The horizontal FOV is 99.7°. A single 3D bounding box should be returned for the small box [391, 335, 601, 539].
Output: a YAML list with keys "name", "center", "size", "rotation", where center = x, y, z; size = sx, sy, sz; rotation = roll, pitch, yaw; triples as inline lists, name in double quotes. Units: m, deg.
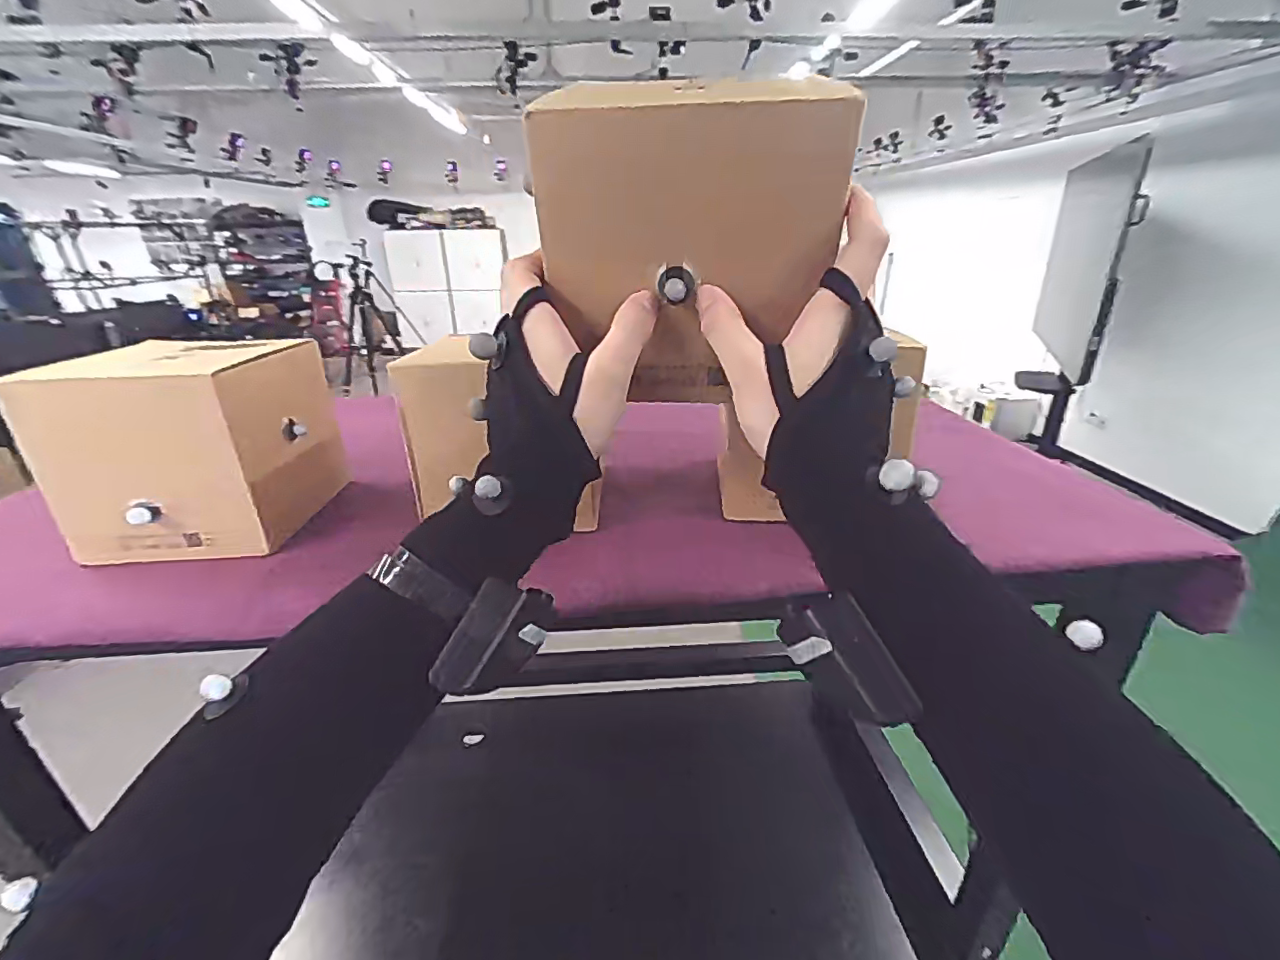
- name: "small box"
  center: [-0.129, -0.052, 0.560]
  size: [0.168, 0.176, 0.179]
  rotation: [-2, 24, 0]

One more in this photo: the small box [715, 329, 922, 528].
- name: "small box"
  center: [0.166, -0.063, 0.568]
  size: [0.168, 0.176, 0.179]
  rotation: [0, 22, 5]

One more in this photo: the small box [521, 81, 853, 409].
- name: "small box"
  center: [0.033, -0.162, 0.374]
  size: [0.168, 0.176, 0.179]
  rotation: [3, 39, 6]

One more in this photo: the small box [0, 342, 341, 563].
- name: "small box"
  center: [-0.418, -0.035, 0.526]
  size: [0.168, 0.176, 0.179]
  rotation: [-3, 24, -4]
